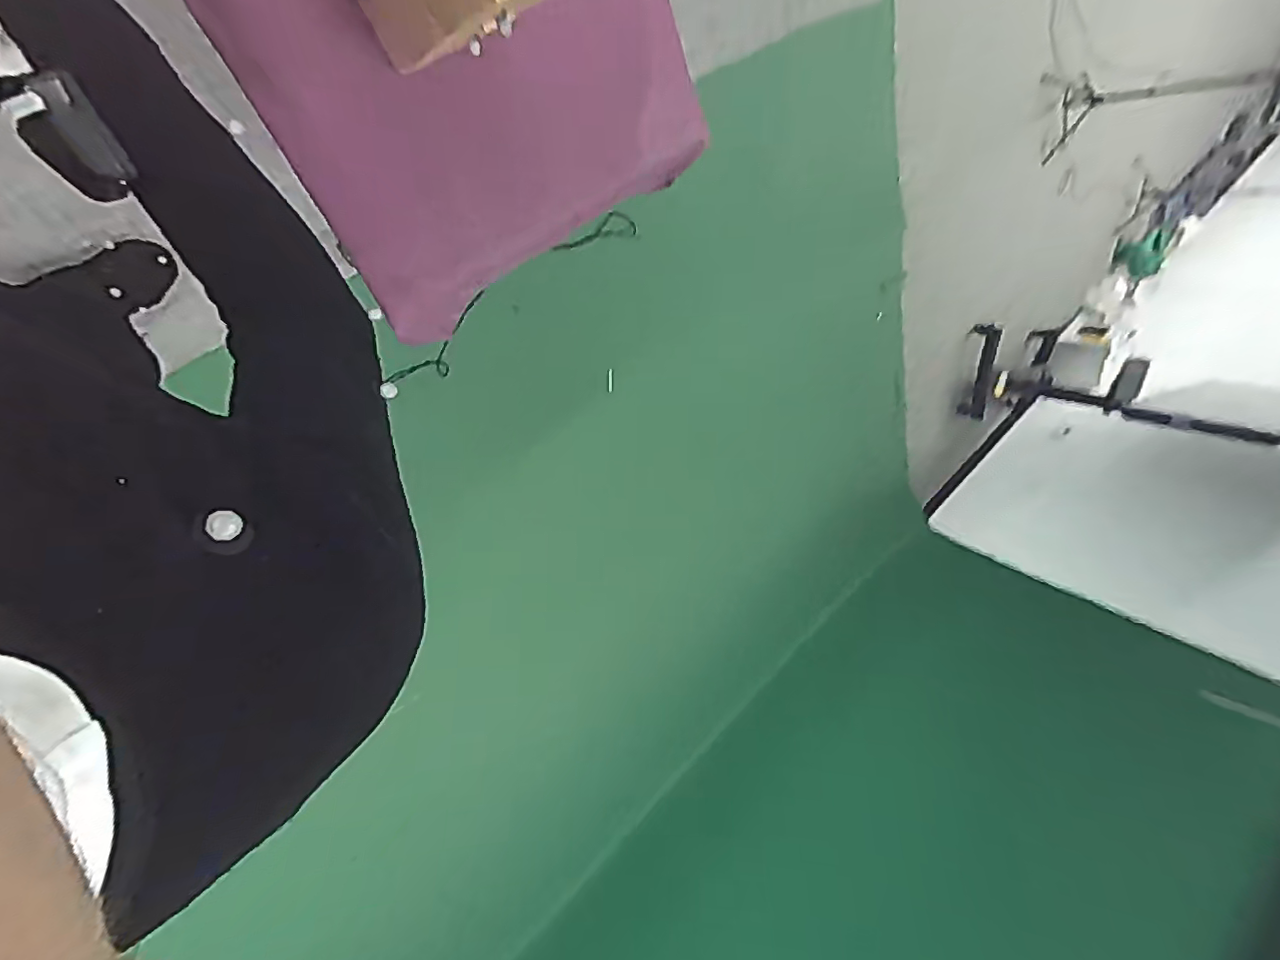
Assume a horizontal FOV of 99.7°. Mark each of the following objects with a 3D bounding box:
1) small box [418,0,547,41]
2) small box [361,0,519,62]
[{"bbox_3d":[-0.145,-0.560,0.506,0.168,0.176,0.179,-38,130,-16],"label":"small box"},{"bbox_3d":[-0.241,-0.619,0.625,0.168,0.176,0.179,-40,131,-16],"label":"small box"}]
